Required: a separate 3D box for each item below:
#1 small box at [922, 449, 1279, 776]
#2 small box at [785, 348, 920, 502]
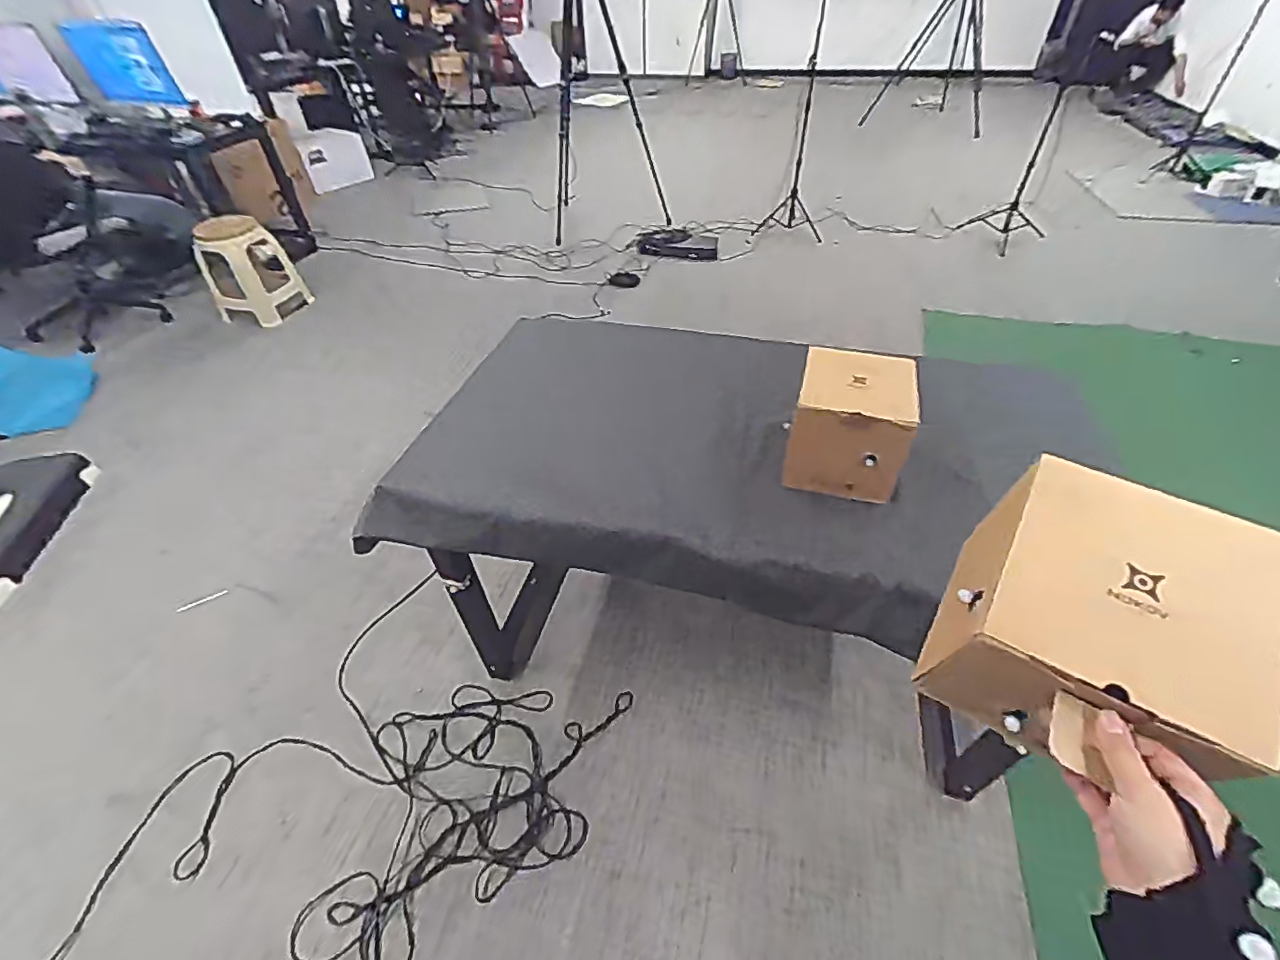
[{"bbox_3d":[0.359,0.112,0.444,0.168,0.176,0.179,25,66,23],"label":"small box"},{"bbox_3d":[0.336,-0.088,0.873,0.168,0.176,0.179,12,45,13],"label":"small box"}]
